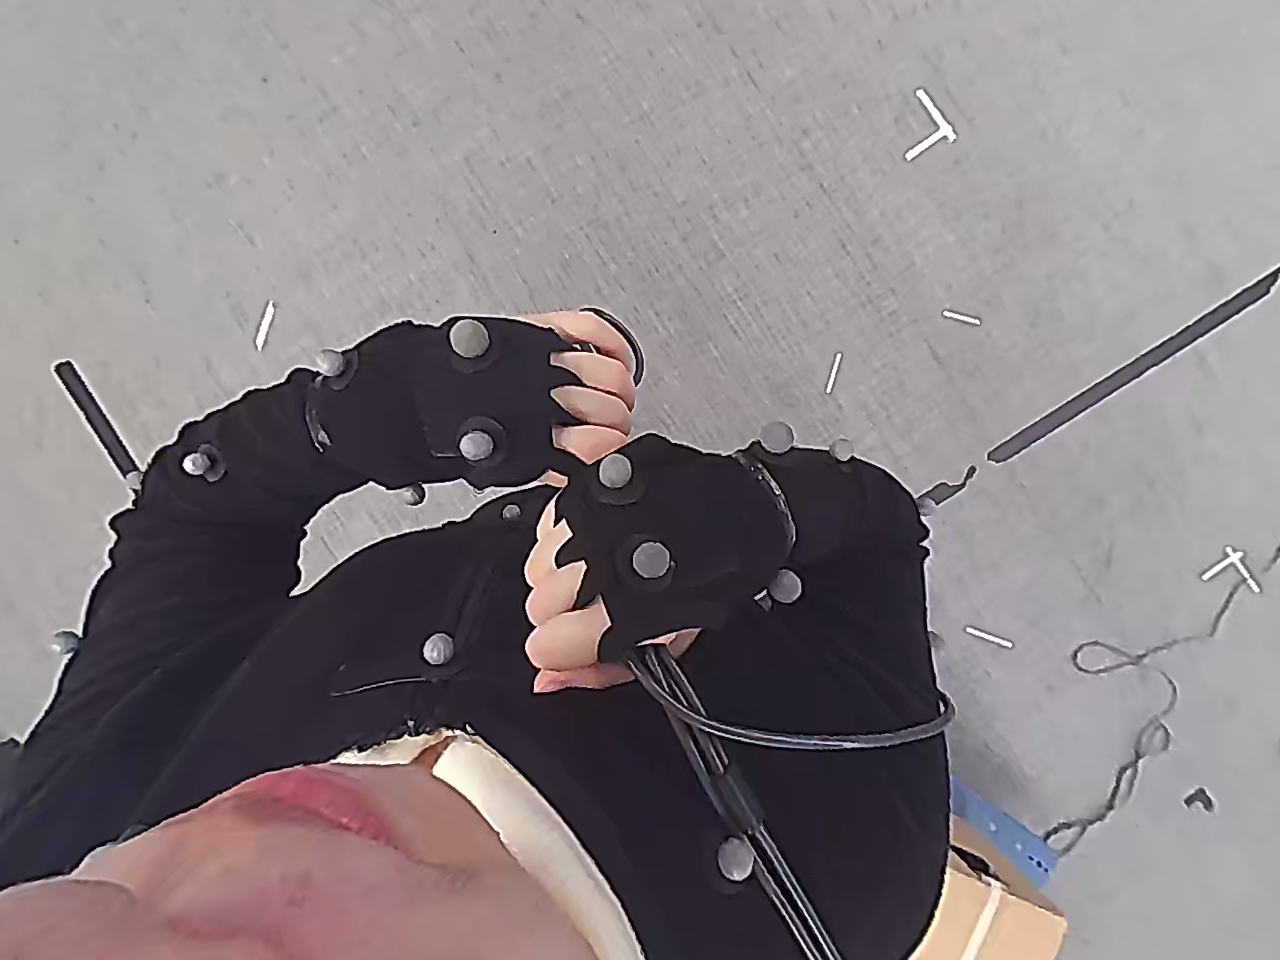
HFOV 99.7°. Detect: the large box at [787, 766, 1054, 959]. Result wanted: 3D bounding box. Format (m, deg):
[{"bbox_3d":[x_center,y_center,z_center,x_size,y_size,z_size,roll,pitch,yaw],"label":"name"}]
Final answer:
[{"bbox_3d":[0.576,0.934,1.178,0.320,0.320,0.408,25,90,0],"label":"large box"}]
